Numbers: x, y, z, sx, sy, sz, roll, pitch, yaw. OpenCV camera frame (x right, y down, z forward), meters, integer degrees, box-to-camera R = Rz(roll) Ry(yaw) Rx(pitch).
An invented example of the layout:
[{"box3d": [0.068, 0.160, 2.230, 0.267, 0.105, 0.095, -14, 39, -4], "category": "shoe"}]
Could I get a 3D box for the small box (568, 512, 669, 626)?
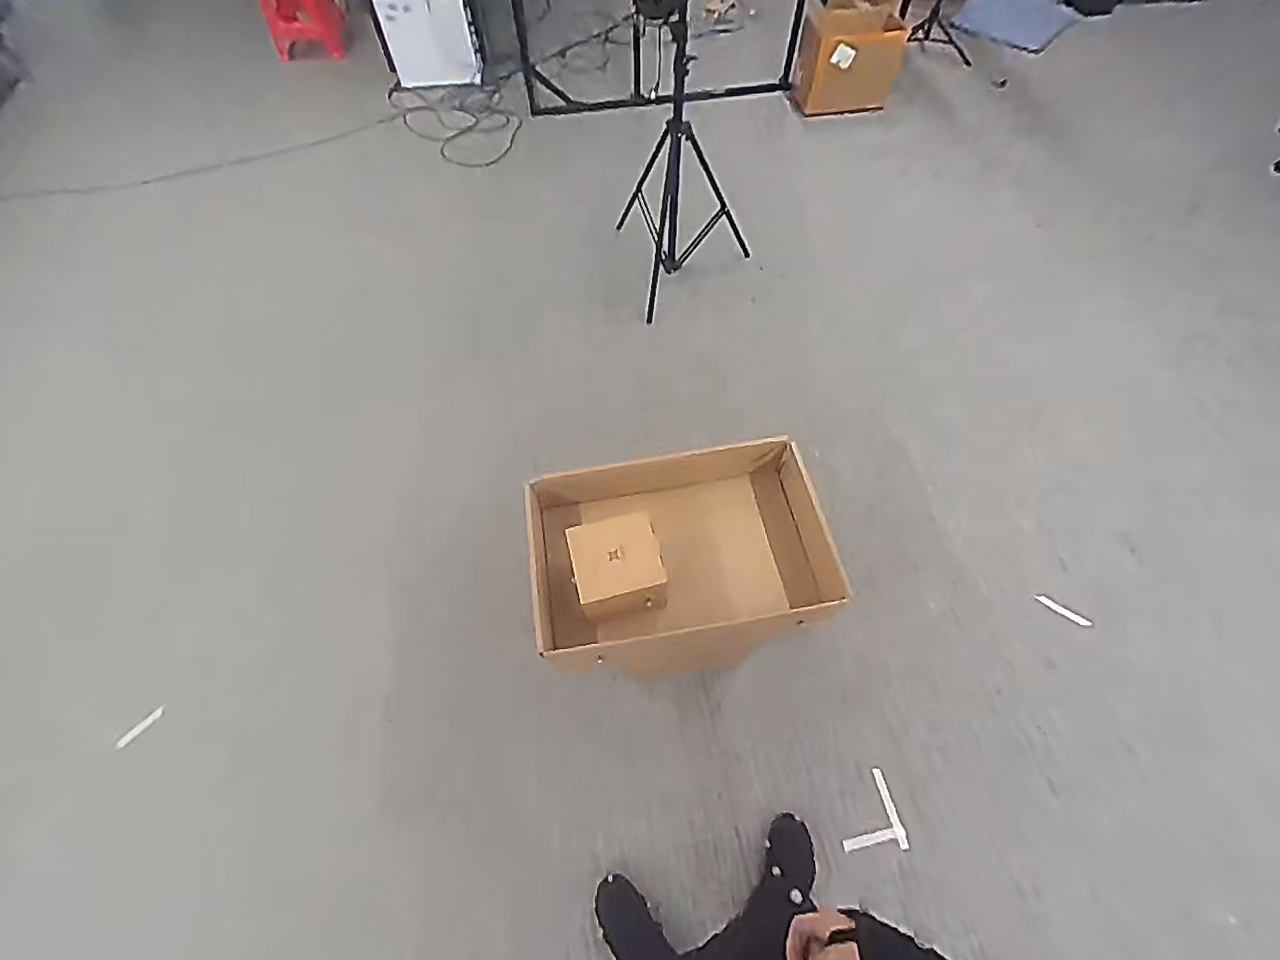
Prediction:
[{"box3d": [-0.044, 0.191, 1.139, 0.179, 0.176, 0.168, -14, 60, -5], "category": "small box"}]
